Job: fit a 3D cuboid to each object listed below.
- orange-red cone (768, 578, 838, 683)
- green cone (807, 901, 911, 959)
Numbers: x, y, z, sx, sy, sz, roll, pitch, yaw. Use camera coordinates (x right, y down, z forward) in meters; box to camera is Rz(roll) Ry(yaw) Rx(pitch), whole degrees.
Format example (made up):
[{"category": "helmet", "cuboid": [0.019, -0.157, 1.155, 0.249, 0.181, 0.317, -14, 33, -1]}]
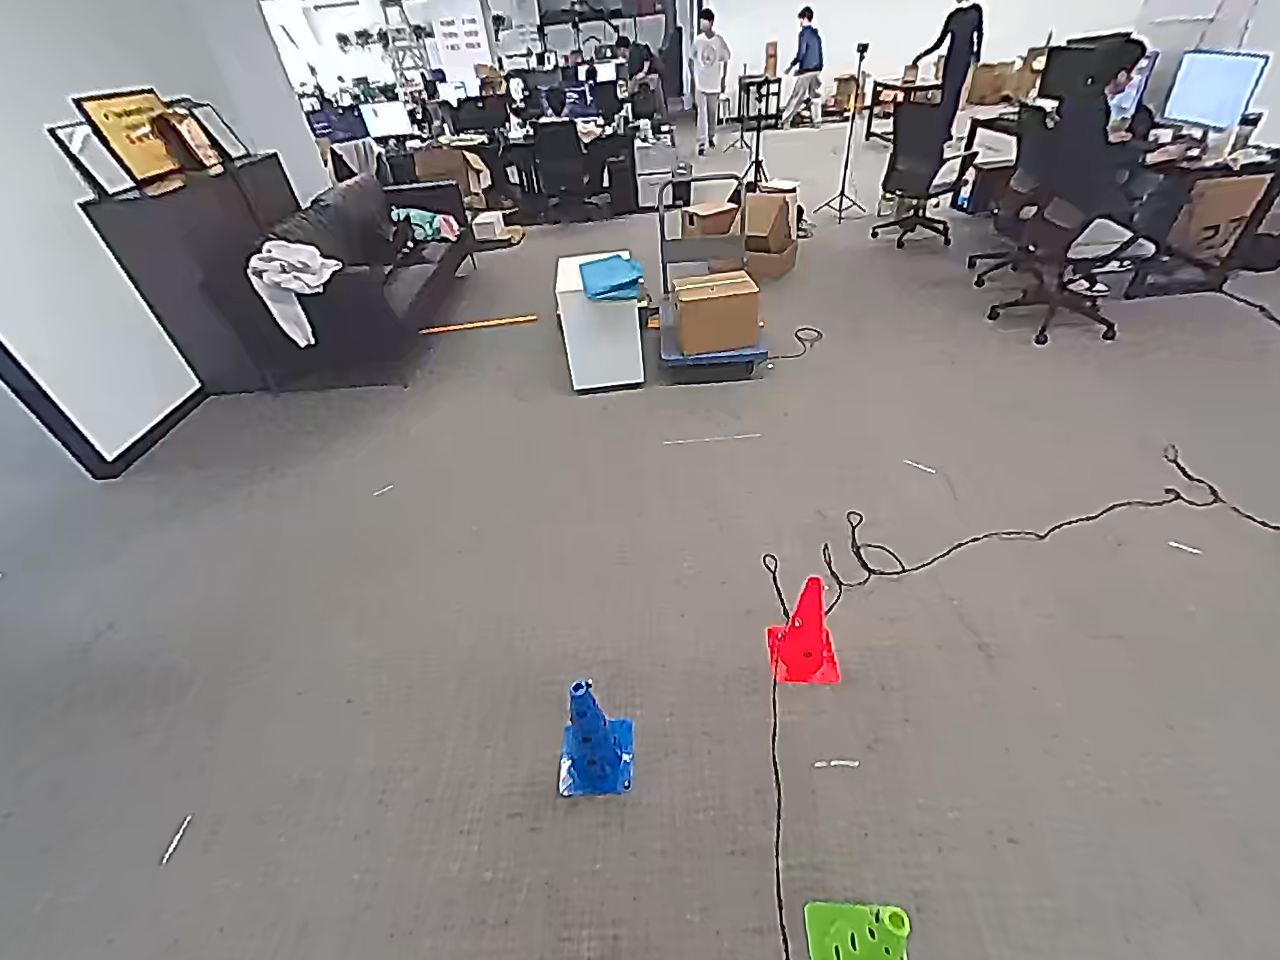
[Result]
[{"category": "orange-red cone", "cuboid": [0.490, 0.414, 1.580, 0.198, 0.360, 0.199, -2, 41, 7]}, {"category": "green cone", "cuboid": [0.450, 0.875, 1.013, 0.200, 0.368, 0.202, -2, 38, 4]}]
